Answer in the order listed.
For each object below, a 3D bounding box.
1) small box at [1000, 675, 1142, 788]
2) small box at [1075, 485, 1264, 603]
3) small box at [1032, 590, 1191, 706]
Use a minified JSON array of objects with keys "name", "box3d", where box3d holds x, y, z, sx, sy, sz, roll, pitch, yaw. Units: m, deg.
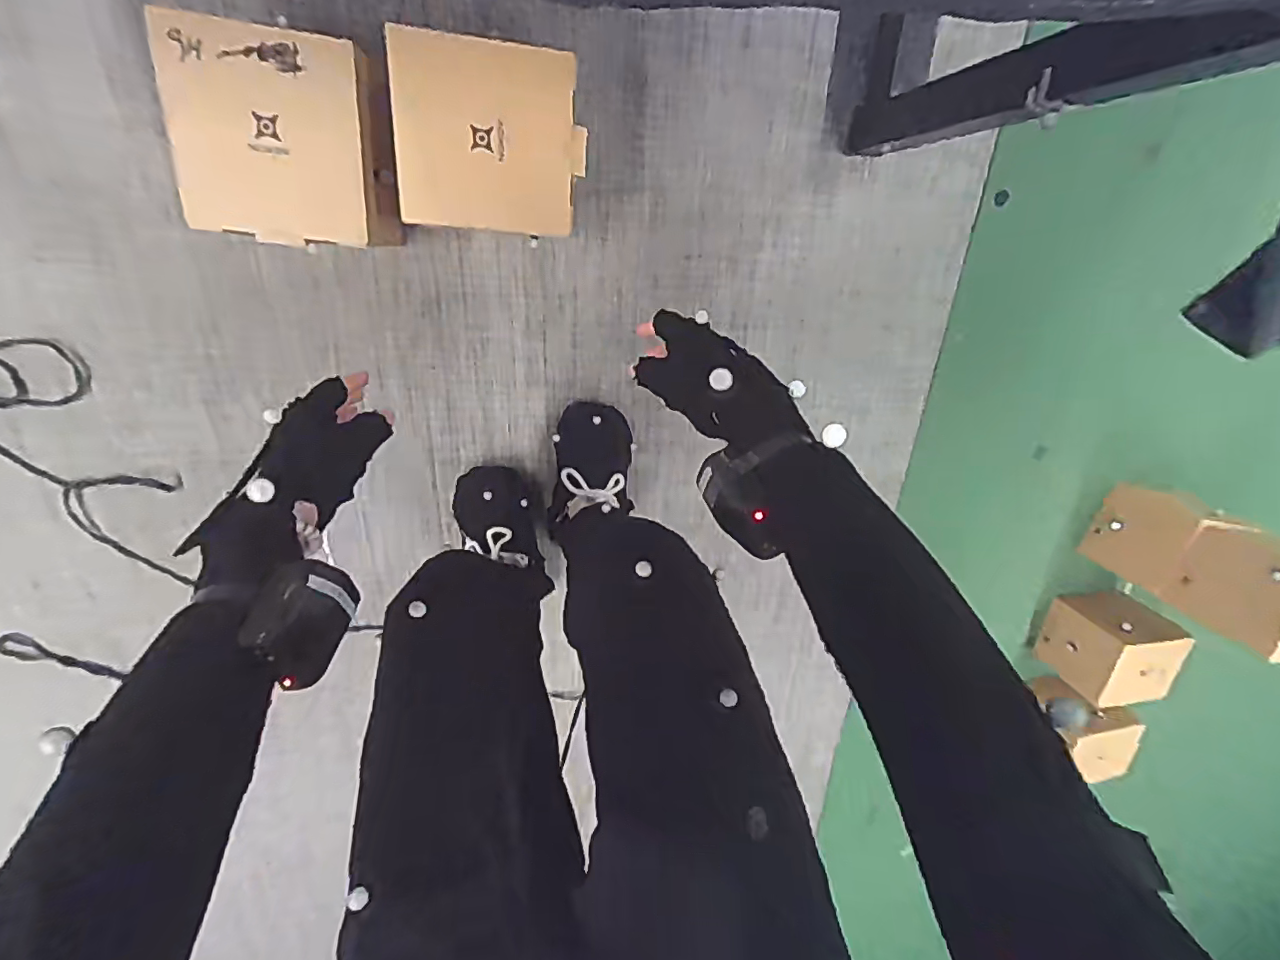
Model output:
[{"name":"small box","box3d":[1.010,0.585,1.281,0.179,0.176,0.168,-6,115,-9]},{"name":"small box","box3d":[1.041,0.123,1.079,0.179,0.176,0.168,9,111,-14]},{"name":"small box","box3d":[1.010,0.359,1.178,0.179,0.176,0.168,-4,115,-11]}]
